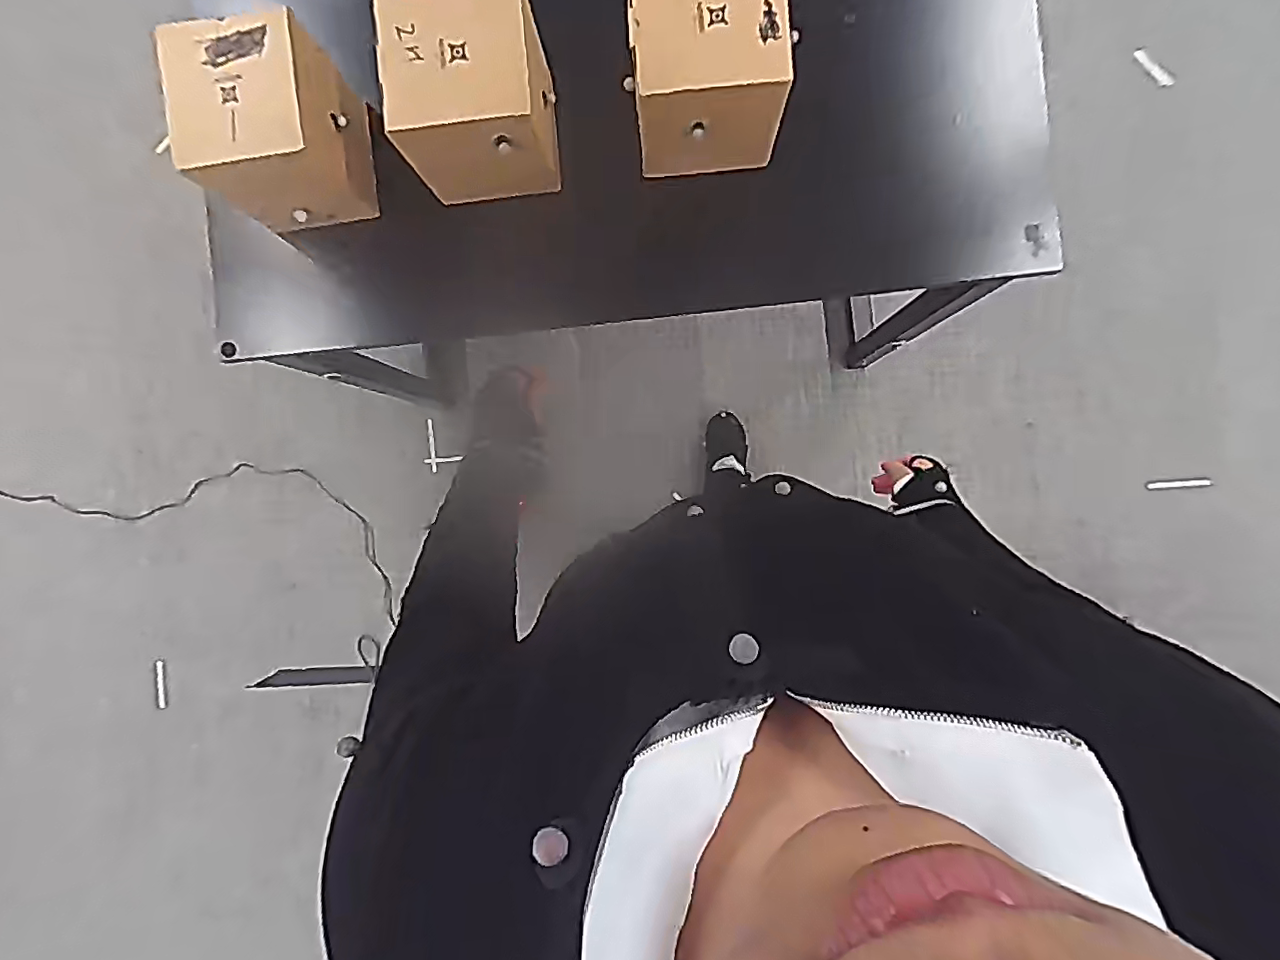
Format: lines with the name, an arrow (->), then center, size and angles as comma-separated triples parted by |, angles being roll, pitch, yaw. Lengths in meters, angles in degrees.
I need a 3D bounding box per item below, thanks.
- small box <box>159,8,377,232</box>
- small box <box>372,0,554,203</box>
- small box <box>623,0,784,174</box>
small box -> -0.479, -0.463, 0.721 | 0.168, 0.176, 0.179 | -7, 91, 3
small box -> -0.214, -0.489, 0.704 | 0.179, 0.176, 0.168 | -6, 89, 3
small box -> 0.077, -0.517, 0.688 | 0.179, 0.176, 0.168 | -4, 90, 4
